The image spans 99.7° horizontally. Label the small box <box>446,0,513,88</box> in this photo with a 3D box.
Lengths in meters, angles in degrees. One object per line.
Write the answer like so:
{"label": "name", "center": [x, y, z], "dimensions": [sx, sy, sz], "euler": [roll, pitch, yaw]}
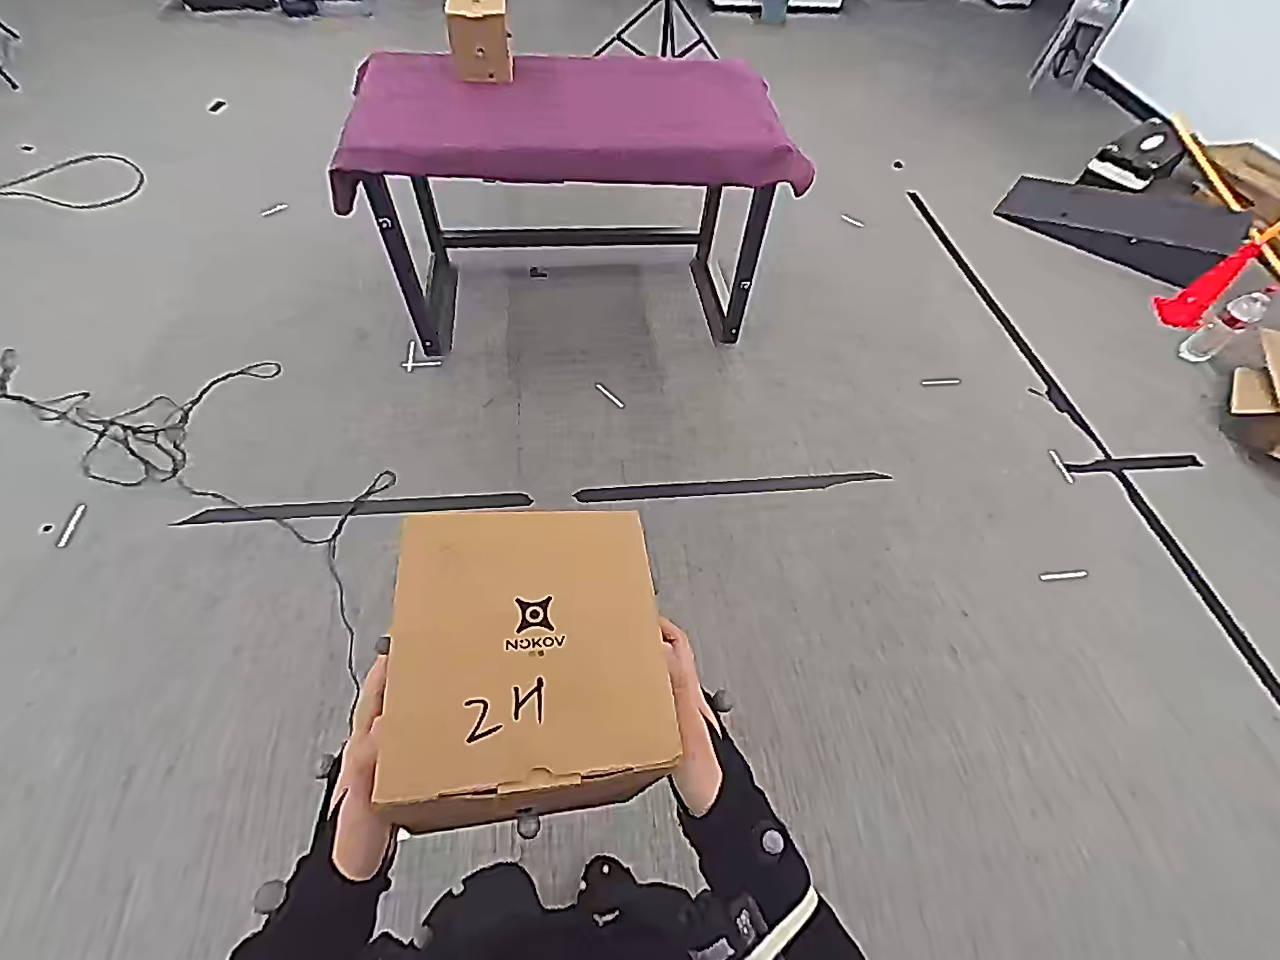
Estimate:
{"label": "small box", "center": [-0.473, -1.305, 1.618], "dimensions": [0.168, 0.176, 0.179], "euler": [-4, 59, -7]}

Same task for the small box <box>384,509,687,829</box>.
{"label": "small box", "center": [-0.080, 0.139, 0.402], "dimensions": [0.168, 0.176, 0.179], "euler": [0, 53, -15]}
